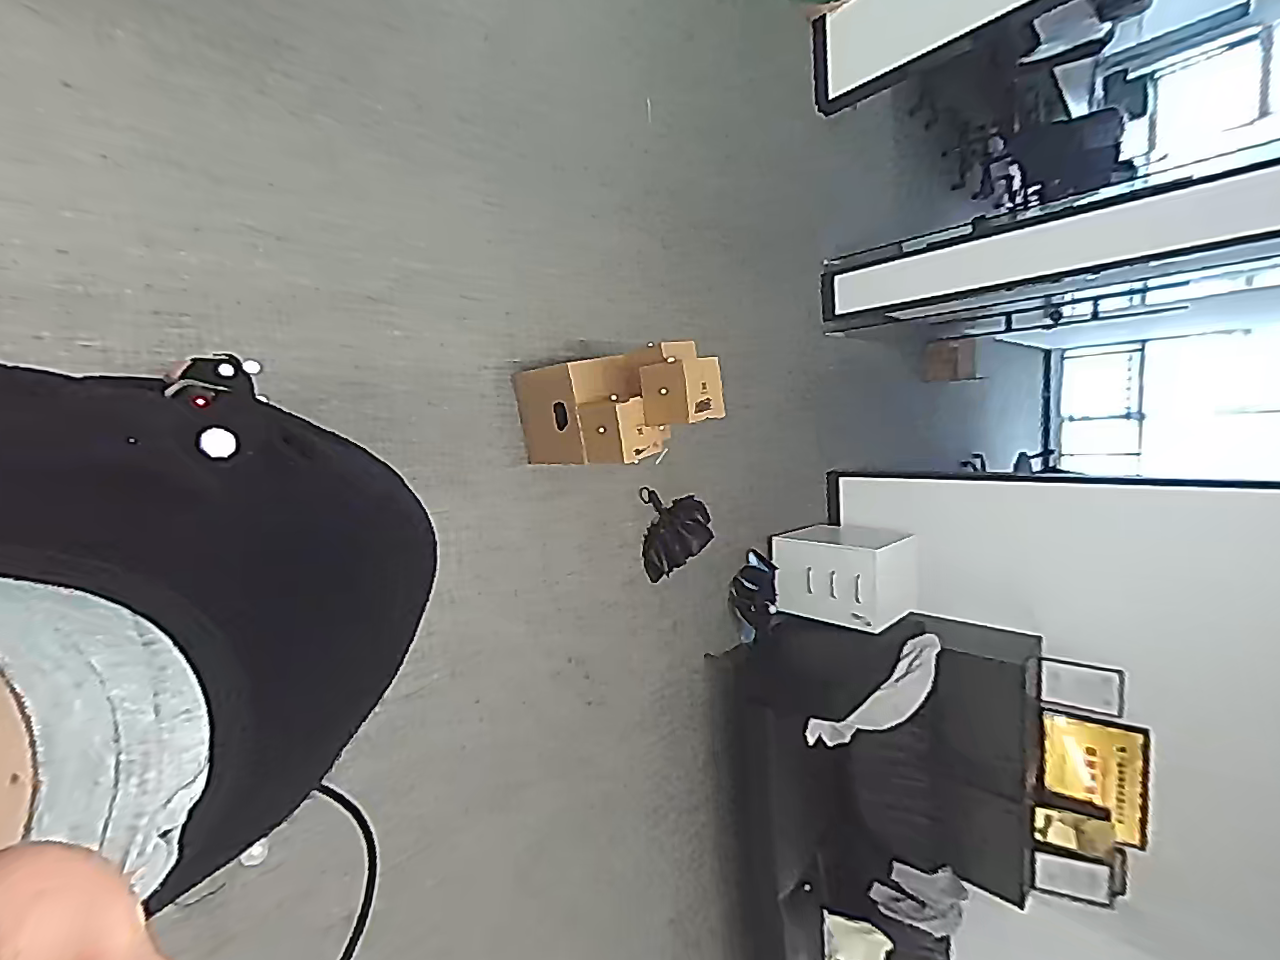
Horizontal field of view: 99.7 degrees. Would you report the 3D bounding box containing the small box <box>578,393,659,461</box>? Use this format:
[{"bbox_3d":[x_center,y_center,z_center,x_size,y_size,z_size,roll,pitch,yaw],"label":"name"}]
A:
[{"bbox_3d":[-0.068,-0.160,1.628,0.168,0.176,0.179,-22,108,-42],"label":"small box"}]

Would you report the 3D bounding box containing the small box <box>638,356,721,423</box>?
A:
[{"bbox_3d":[0.113,-0.259,1.570,0.168,0.176,0.179,-15,101,-44],"label":"small box"}]
